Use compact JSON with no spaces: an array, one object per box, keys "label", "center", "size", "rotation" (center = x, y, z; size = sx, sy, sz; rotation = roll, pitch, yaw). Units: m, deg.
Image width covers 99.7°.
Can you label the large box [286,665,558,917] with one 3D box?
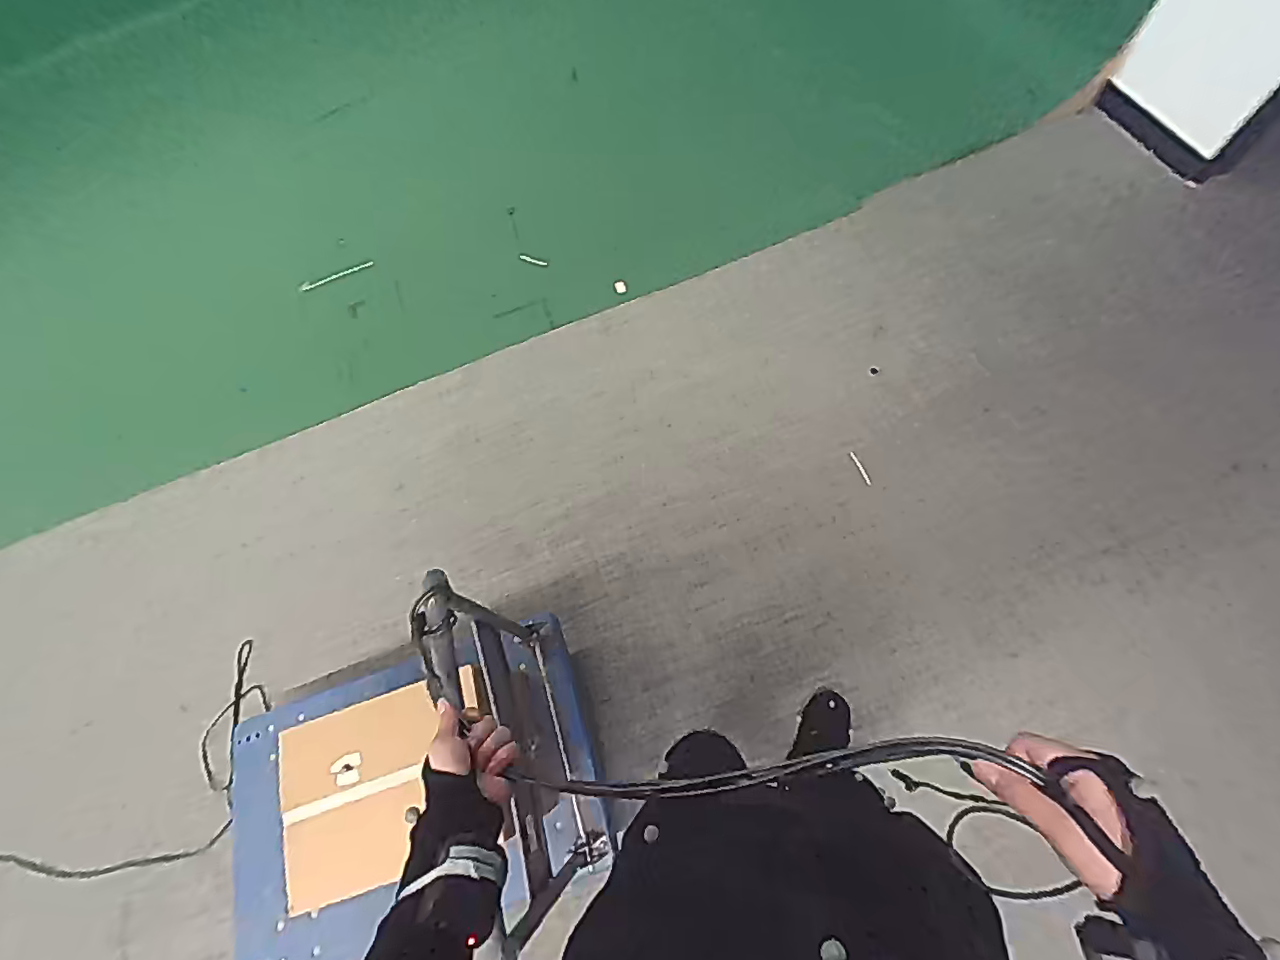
[{"label":"large box","center":[-0.435,0.610,1.129],"size":[0.408,0.320,0.320],"rotation":[-20,66,1]}]
